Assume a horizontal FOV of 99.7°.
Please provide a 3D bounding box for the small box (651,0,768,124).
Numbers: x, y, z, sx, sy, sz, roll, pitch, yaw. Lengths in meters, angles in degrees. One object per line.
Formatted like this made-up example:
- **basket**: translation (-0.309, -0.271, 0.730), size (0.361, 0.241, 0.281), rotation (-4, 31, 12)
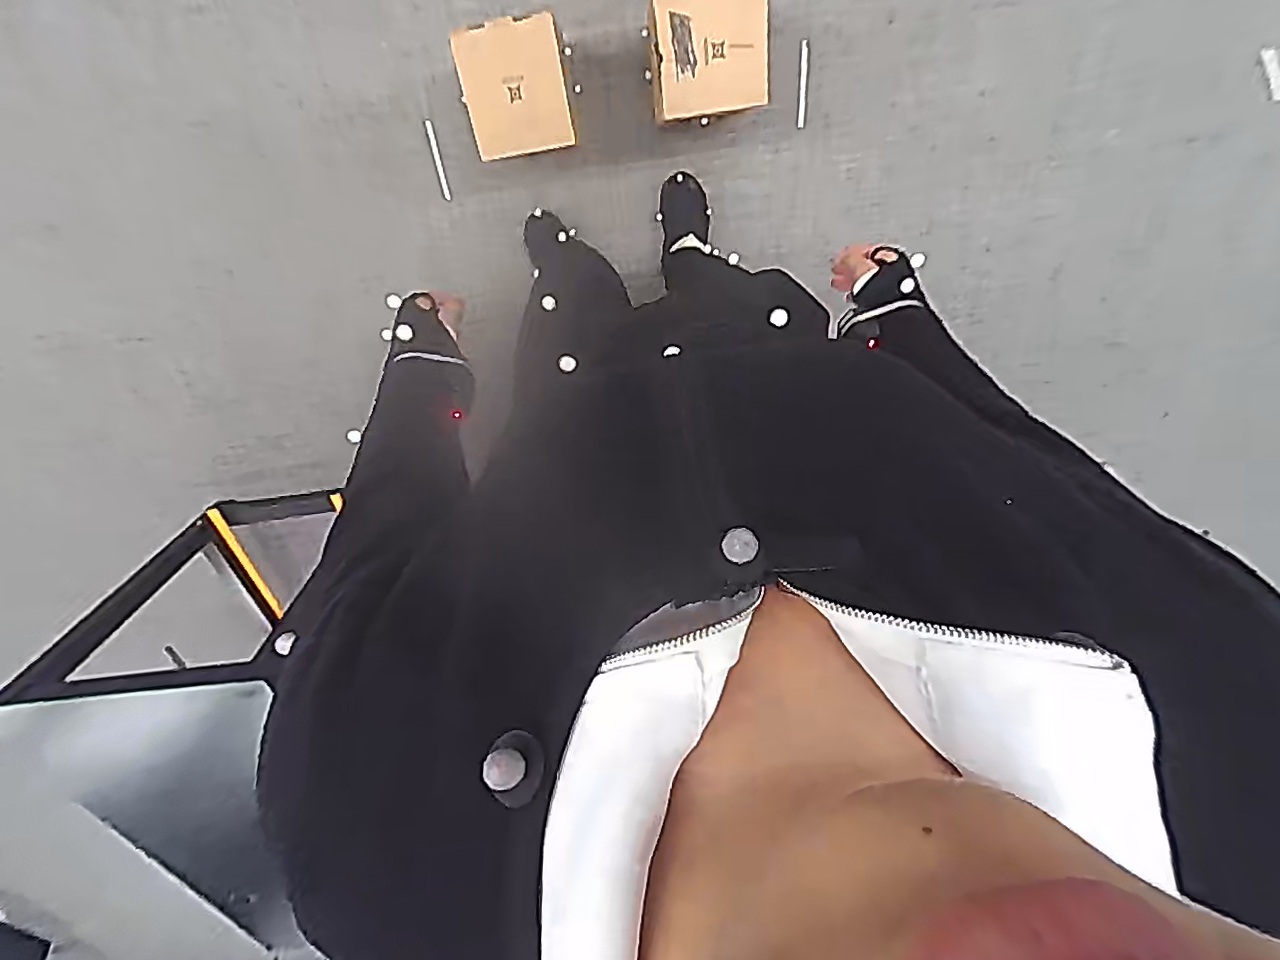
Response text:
- **small box**: translation (0.112, -0.712, 0.915), size (0.179, 0.176, 0.168), rotation (-7, 122, 1)

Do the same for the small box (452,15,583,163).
- **small box**: translation (-0.199, -0.663, 0.935), size (0.168, 0.176, 0.179), rotation (-8, 123, 5)

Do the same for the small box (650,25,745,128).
- **small box**: translation (0.110, -0.800, 1.054), size (0.168, 0.176, 0.179), rotation (-6, 124, 0)
